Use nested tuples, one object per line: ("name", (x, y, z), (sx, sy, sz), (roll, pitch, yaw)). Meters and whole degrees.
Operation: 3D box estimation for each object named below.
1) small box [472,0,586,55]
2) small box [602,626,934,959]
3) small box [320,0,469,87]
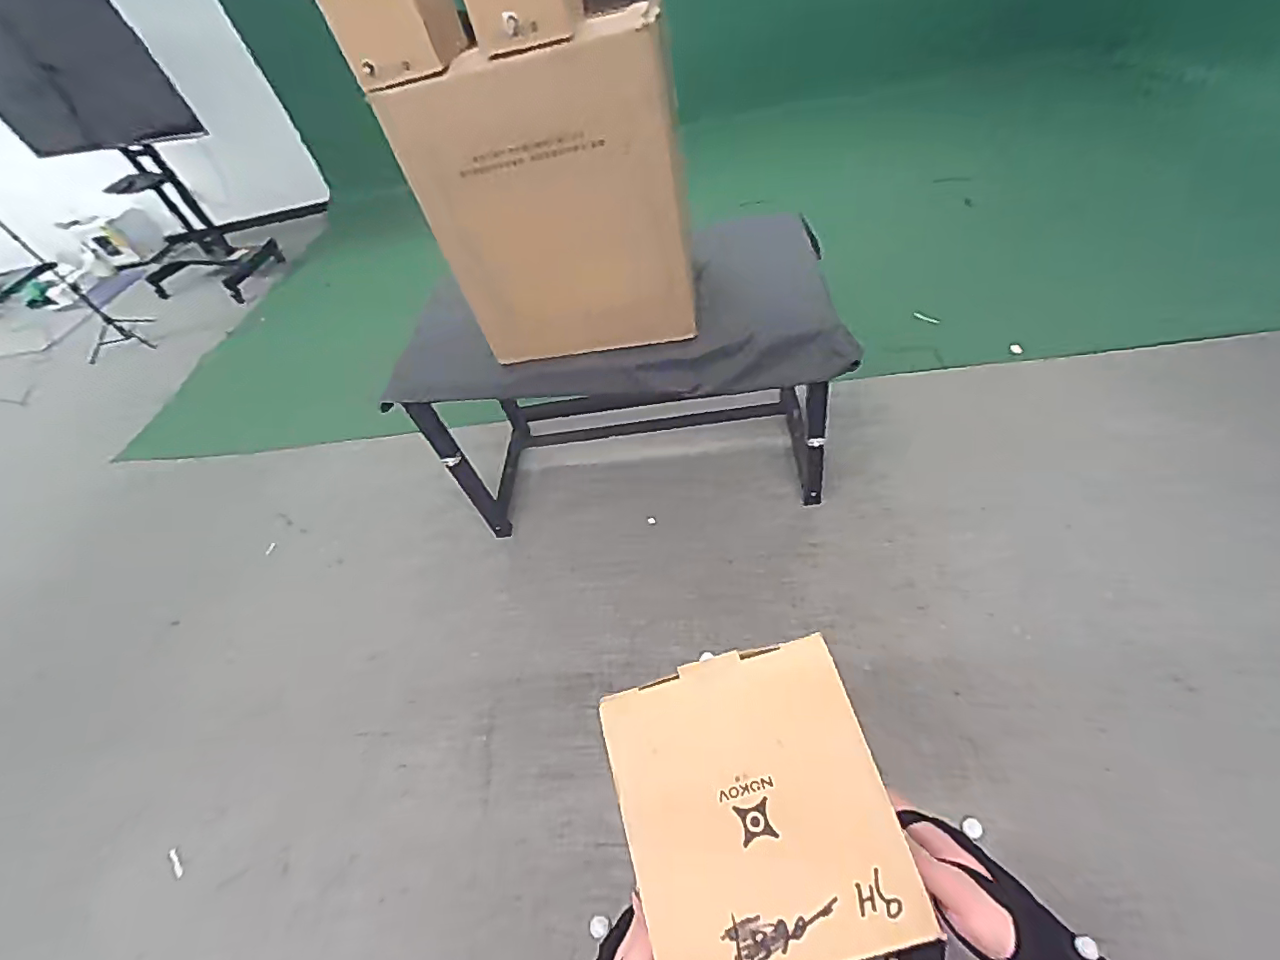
("small box", (-0.198, -0.860, 0.922), (0.168, 0.176, 0.179), (-6, 51, 12))
("small box", (0.081, 0.234, 0.419), (0.168, 0.176, 0.179), (-18, 65, 1))
("small box", (-0.432, -0.836, 0.968), (0.168, 0.176, 0.179), (-5, 49, 13))
